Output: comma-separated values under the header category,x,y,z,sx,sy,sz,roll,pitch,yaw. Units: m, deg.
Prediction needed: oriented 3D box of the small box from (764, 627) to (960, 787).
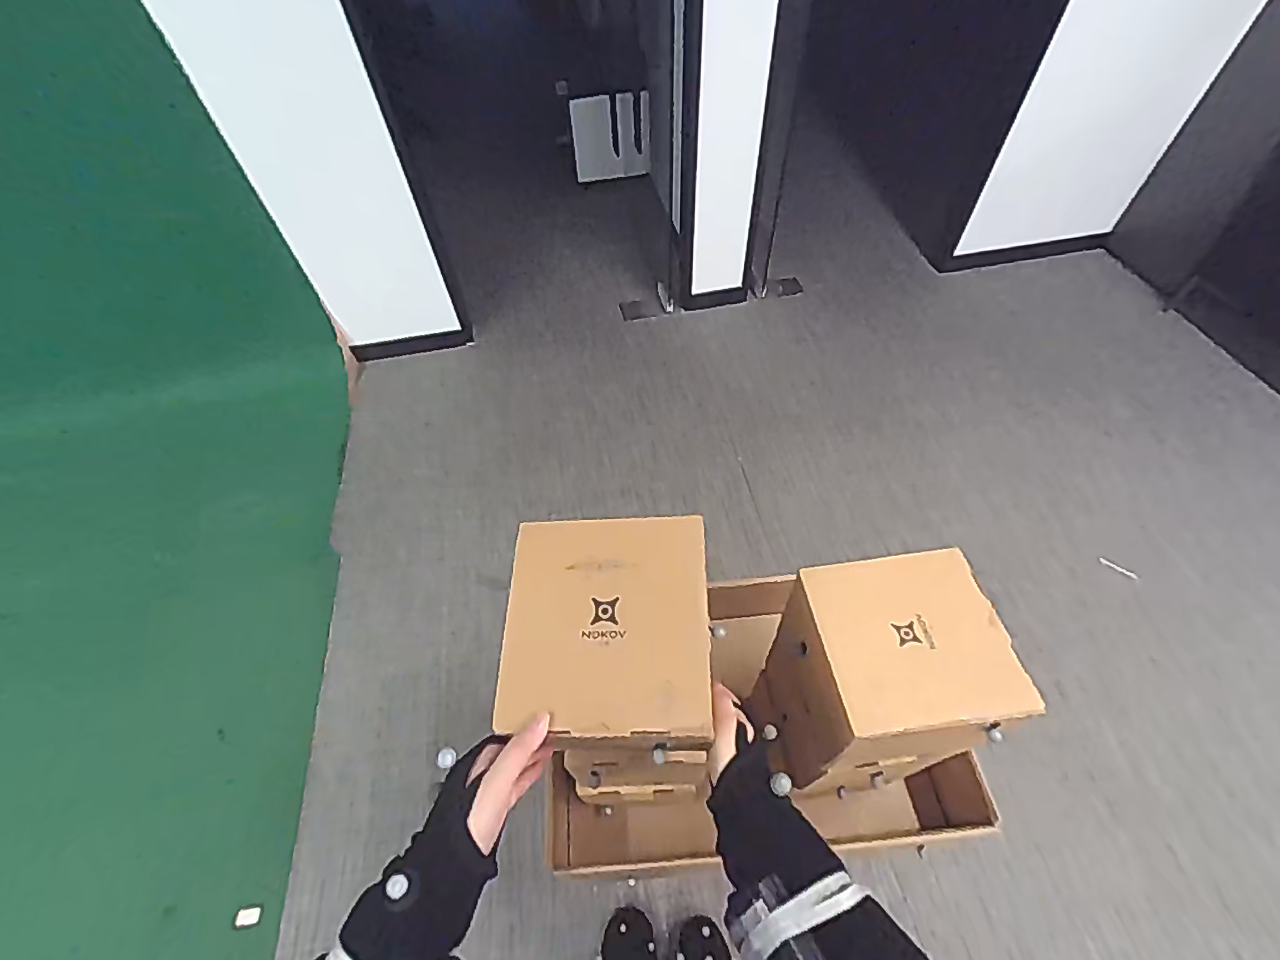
category,x,y,z,sx,sy,sz,roll,pitch,yaw
small box,0.274,0.296,0.716,0.168,0.176,0.179,-7,55,-3

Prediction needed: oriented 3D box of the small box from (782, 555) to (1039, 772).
category,x,y,z,sx,sy,sz,roll,pitch,yaw
small box,0.262,0.202,0.583,0.179,0.176,0.168,-7,53,-2

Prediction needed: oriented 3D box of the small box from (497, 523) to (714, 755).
category,x,y,z,sx,sy,sz,roll,pitch,yaw
small box,-0.016,0.155,0.506,0.168,0.176,0.179,-2,59,6
